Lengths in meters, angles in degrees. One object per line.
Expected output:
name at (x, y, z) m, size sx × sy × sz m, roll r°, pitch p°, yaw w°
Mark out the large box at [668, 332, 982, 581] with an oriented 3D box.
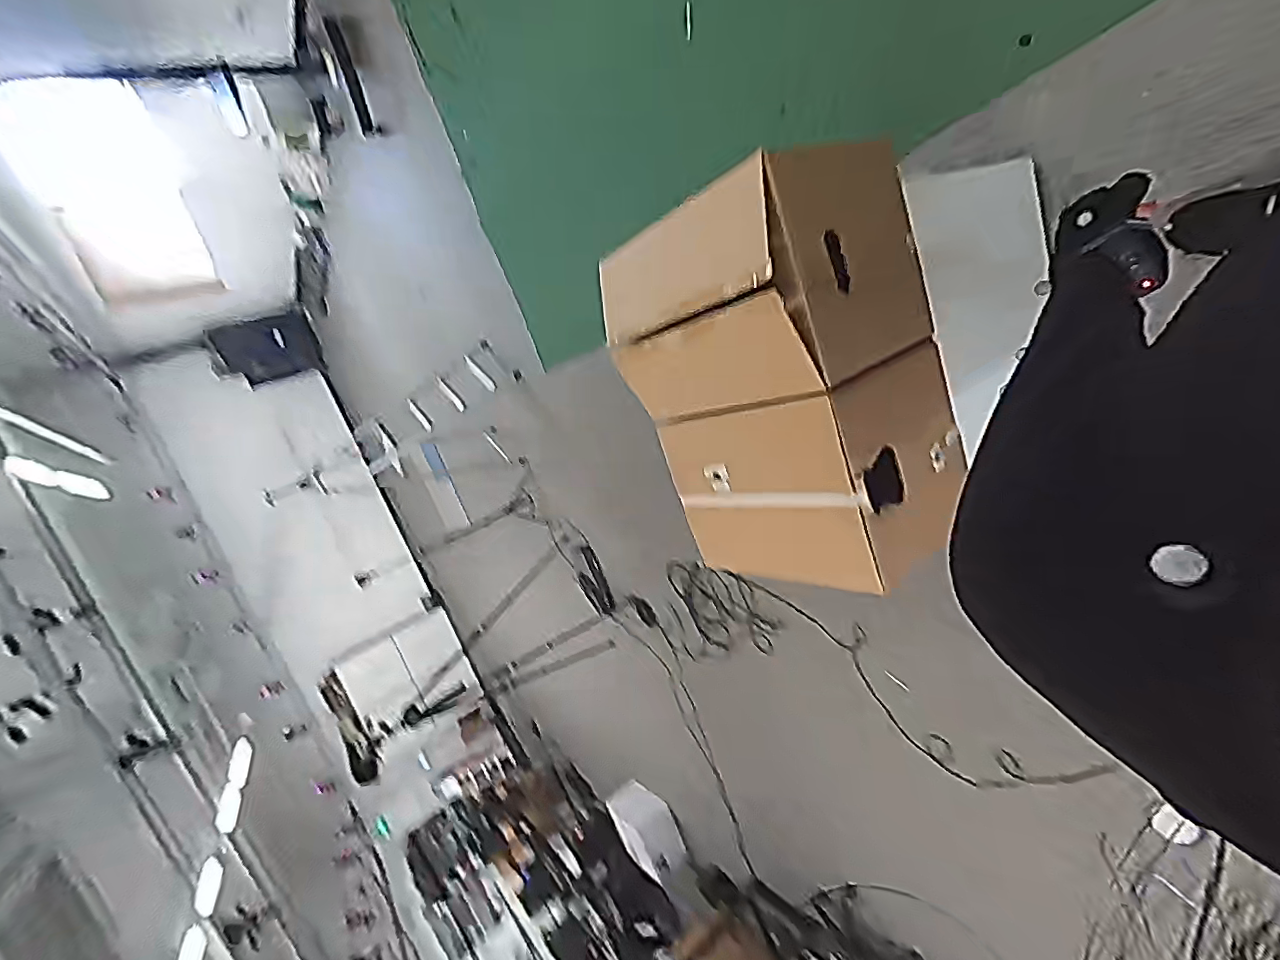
large box at (0.326, -0.041, 1.001) m, size 0.408 × 0.320 × 0.320 m, roll -3°, pitch 110°, yaw 58°
